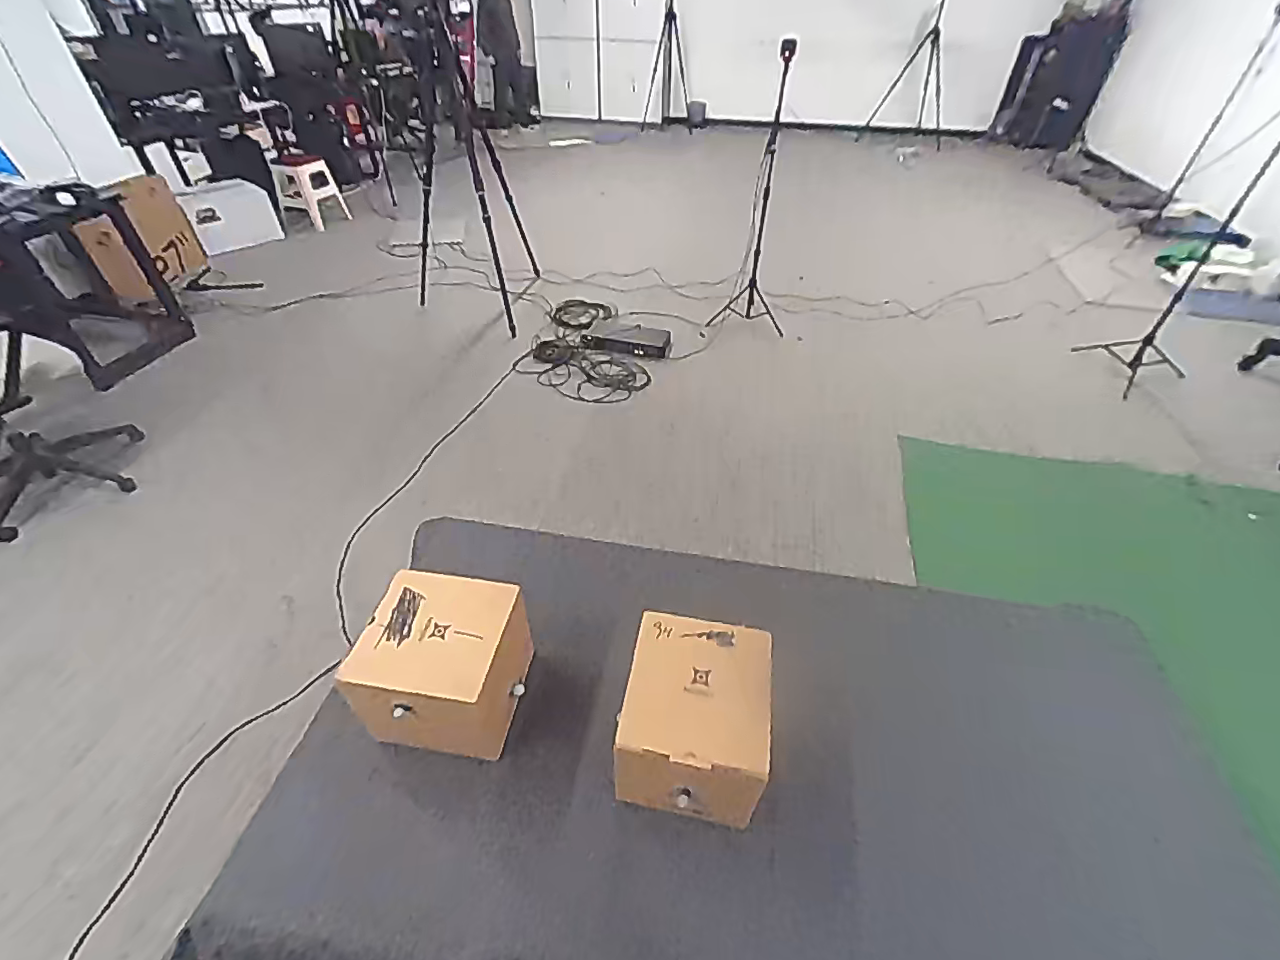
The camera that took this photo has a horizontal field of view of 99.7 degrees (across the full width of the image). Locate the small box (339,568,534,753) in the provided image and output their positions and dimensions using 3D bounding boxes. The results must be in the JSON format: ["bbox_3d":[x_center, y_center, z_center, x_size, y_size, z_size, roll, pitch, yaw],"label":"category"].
[{"bbox_3d":[-0.256,0.244,0.729,0.179,0.176,0.168,7,43,5],"label":"small box"}]

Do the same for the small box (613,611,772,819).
[{"bbox_3d":[0.068,0.296,0.681,0.168,0.176,0.179,8,43,8],"label":"small box"}]
